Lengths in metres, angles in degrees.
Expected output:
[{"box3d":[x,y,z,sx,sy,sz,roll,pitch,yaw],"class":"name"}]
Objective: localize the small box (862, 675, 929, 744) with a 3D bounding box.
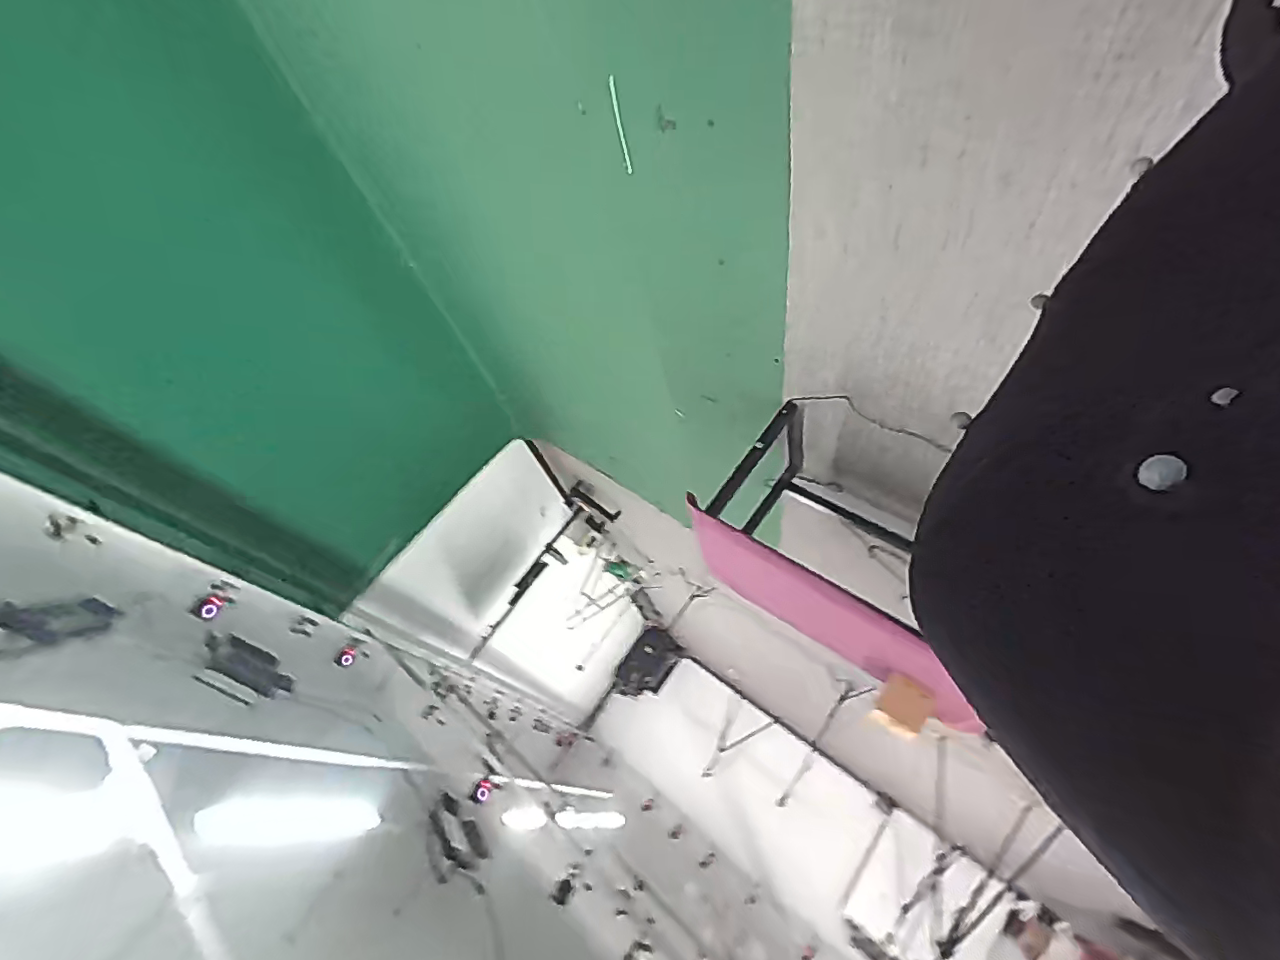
[{"box3d":[0.984,0.878,2.078,0.168,0.176,0.179,31,160,29],"class":"small box"}]
